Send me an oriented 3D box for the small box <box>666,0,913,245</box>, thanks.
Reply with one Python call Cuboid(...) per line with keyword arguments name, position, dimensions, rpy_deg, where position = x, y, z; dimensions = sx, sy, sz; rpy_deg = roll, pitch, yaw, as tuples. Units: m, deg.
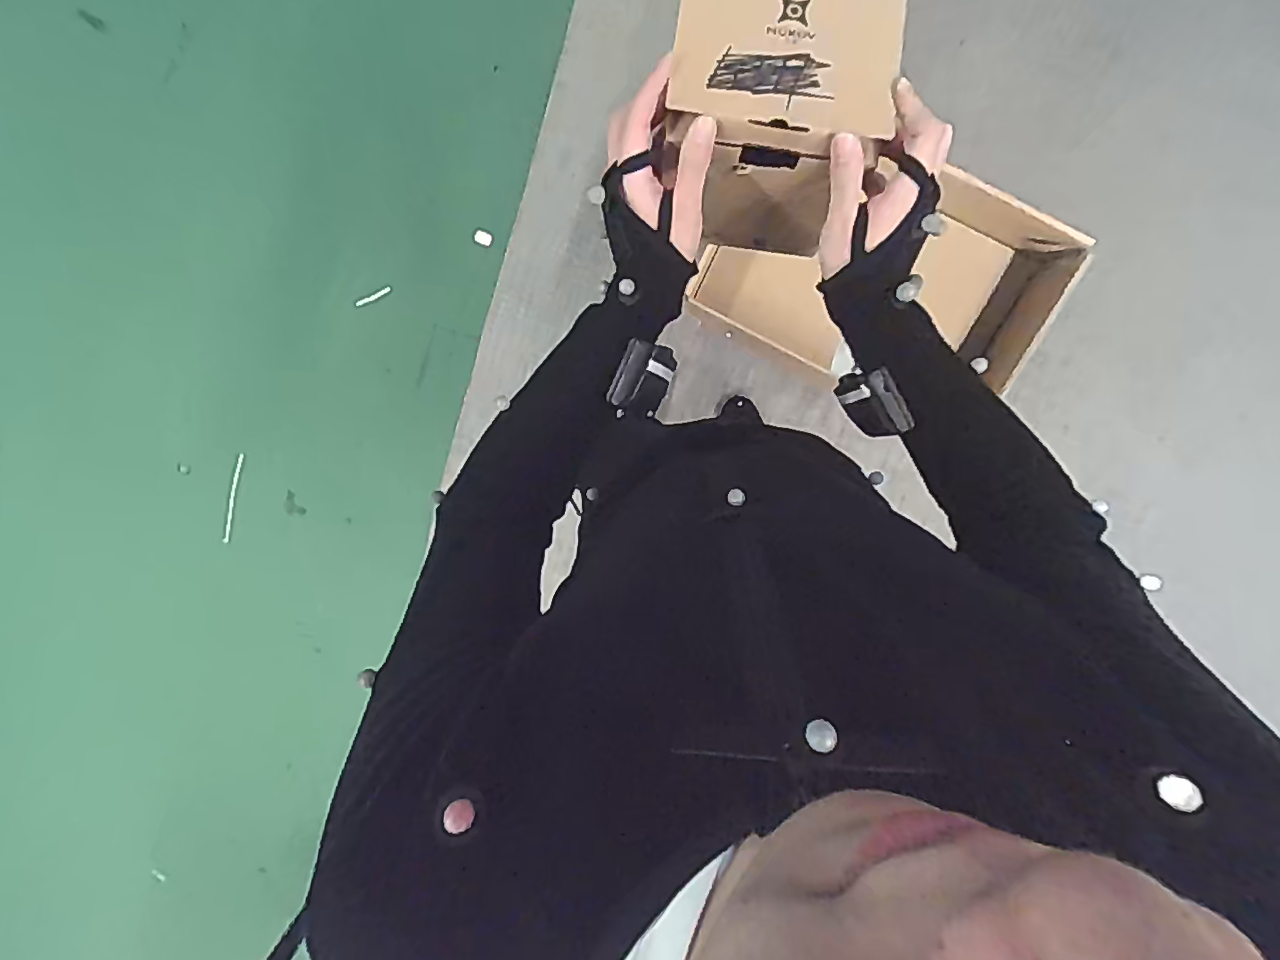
Cuboid(name="small box", position=(0.114, -0.330, 0.471), dimensions=(0.168, 0.176, 0.179), rpy_deg=(8, 89, 1))
